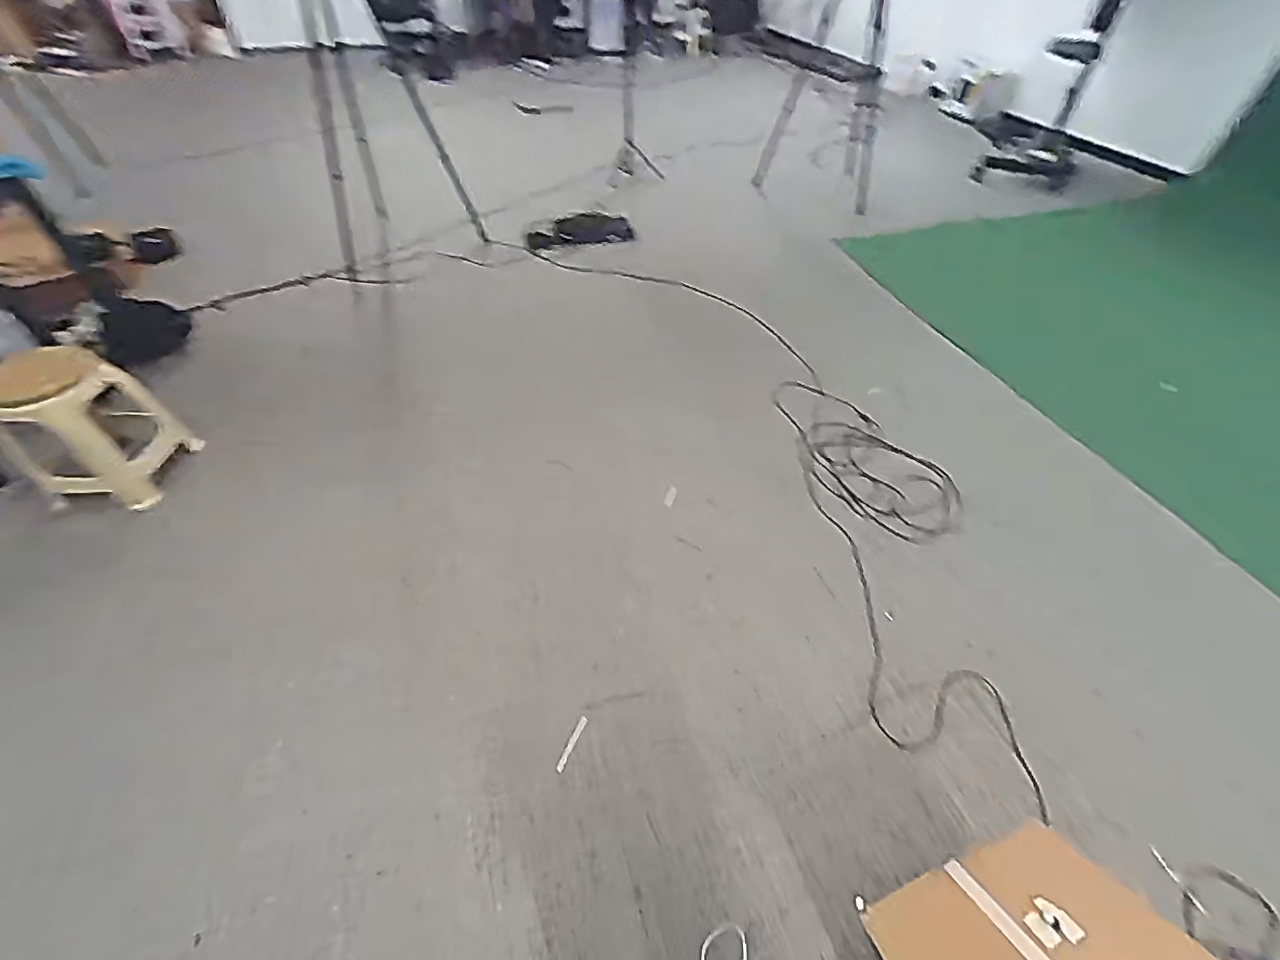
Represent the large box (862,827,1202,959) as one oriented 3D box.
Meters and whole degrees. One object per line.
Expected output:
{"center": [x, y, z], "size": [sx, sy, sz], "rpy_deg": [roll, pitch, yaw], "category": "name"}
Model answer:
{"center": [0.547, 0.734, 0.630], "size": [0.320, 0.408, 0.320], "rpy_deg": [-22, 95, -5], "category": "large box"}
